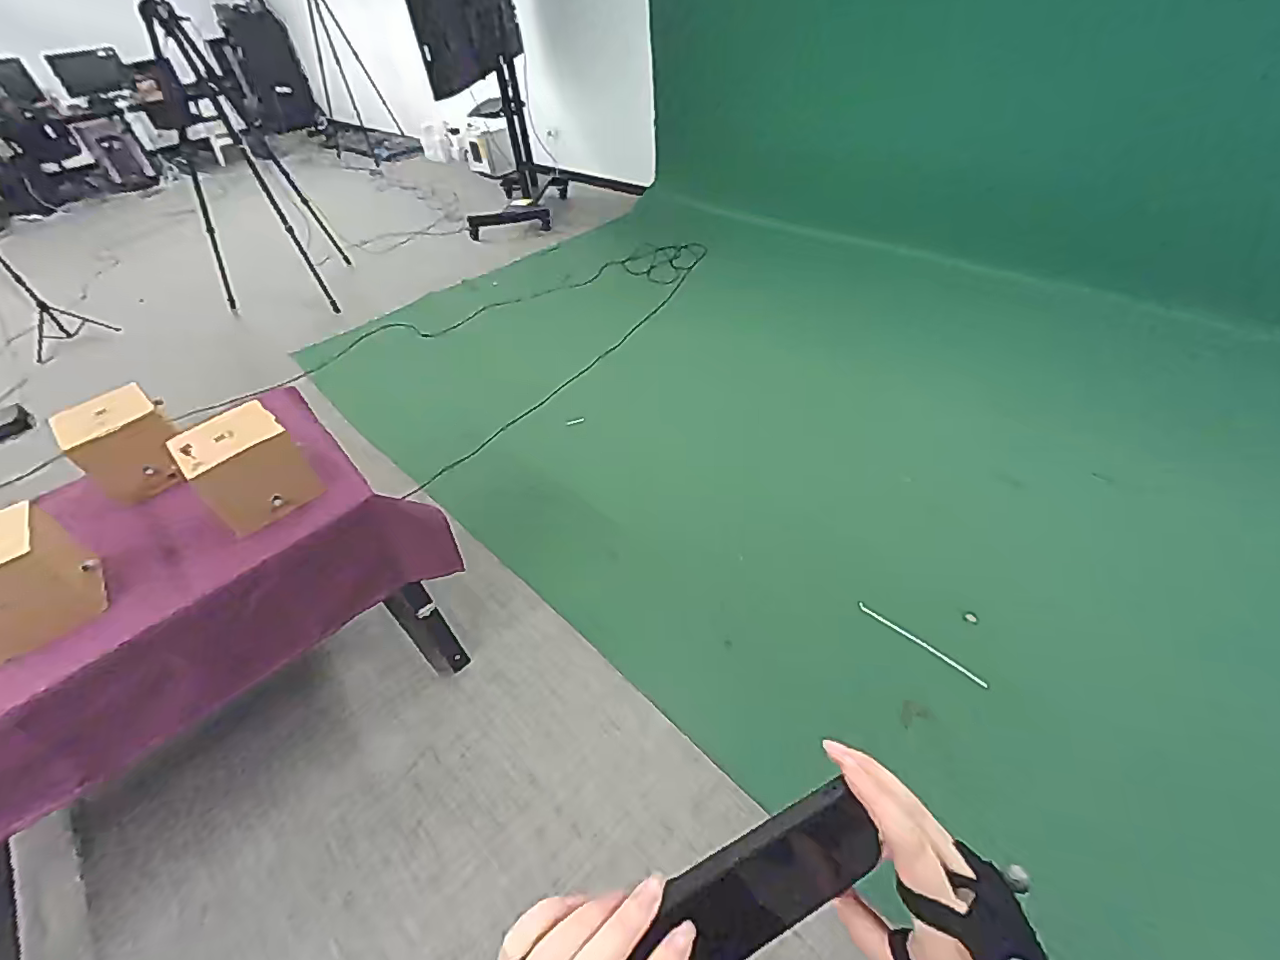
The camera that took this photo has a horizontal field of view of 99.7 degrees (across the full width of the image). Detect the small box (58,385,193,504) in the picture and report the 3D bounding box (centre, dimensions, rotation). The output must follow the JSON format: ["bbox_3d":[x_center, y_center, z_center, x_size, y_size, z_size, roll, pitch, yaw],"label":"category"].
[{"bbox_3d":[-1.103,-0.077,1.187,0.179,0.176,0.168,31,56,32],"label":"small box"}]

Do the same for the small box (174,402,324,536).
[{"bbox_3d":[-0.776,-0.023,1.092,0.168,0.176,0.179,32,56,33],"label":"small box"}]

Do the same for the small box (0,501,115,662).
[{"bbox_3d":[-1.067,0.176,0.926,0.179,0.176,0.168,-34,50,-26],"label":"small box"}]
